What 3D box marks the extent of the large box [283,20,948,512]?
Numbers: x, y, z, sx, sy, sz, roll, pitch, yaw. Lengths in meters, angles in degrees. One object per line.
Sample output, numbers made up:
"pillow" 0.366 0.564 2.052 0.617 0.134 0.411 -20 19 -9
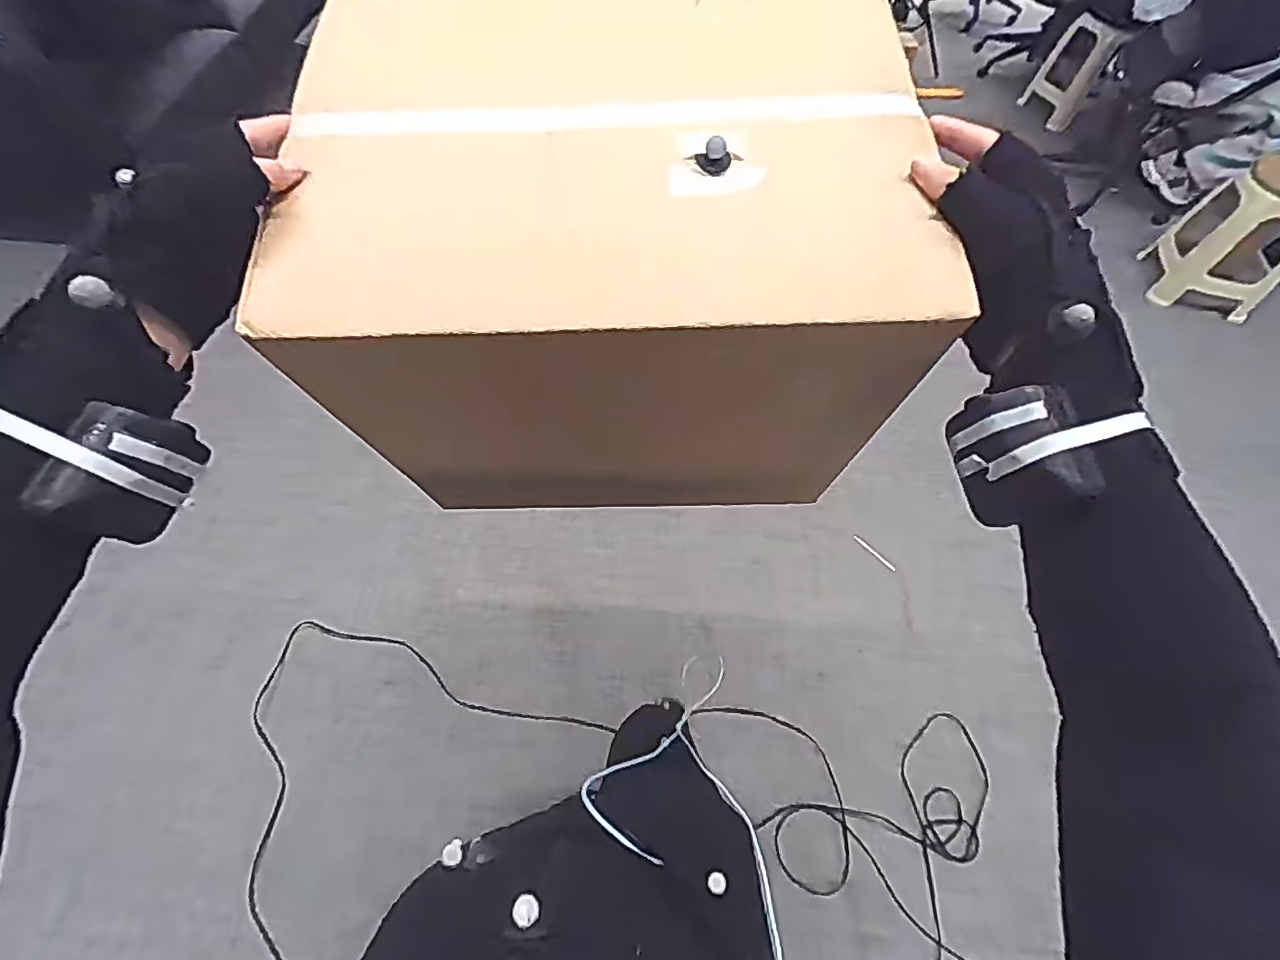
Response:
"large box" -0.018 -0.167 0.512 0.408 0.320 0.320 -1 68 0
